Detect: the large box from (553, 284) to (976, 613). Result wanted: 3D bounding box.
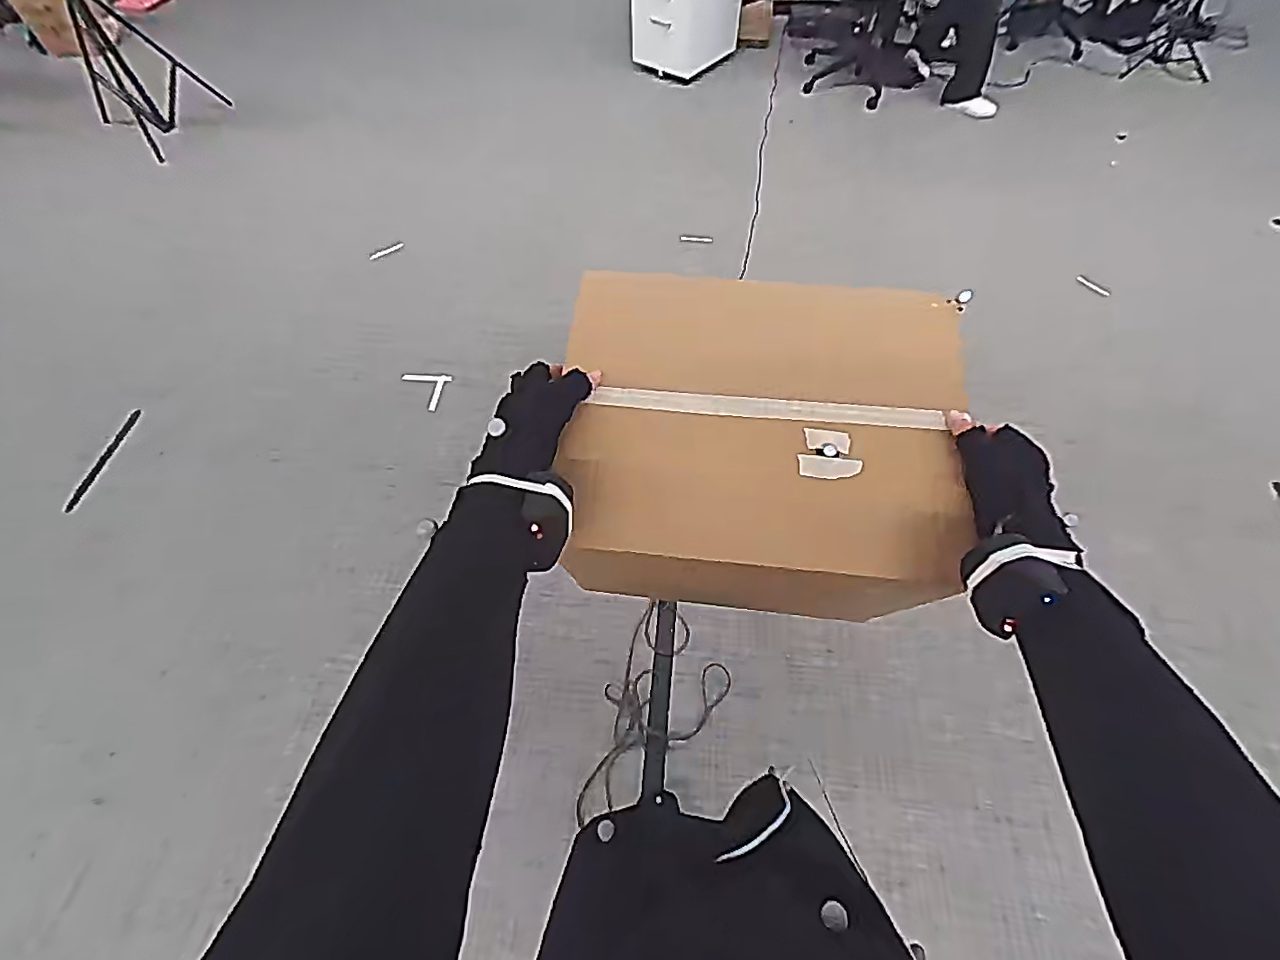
[{"bbox_3d":[0.132,-0.018,0.696,0.408,0.320,0.320,5,71,5],"label":"large box"}]
